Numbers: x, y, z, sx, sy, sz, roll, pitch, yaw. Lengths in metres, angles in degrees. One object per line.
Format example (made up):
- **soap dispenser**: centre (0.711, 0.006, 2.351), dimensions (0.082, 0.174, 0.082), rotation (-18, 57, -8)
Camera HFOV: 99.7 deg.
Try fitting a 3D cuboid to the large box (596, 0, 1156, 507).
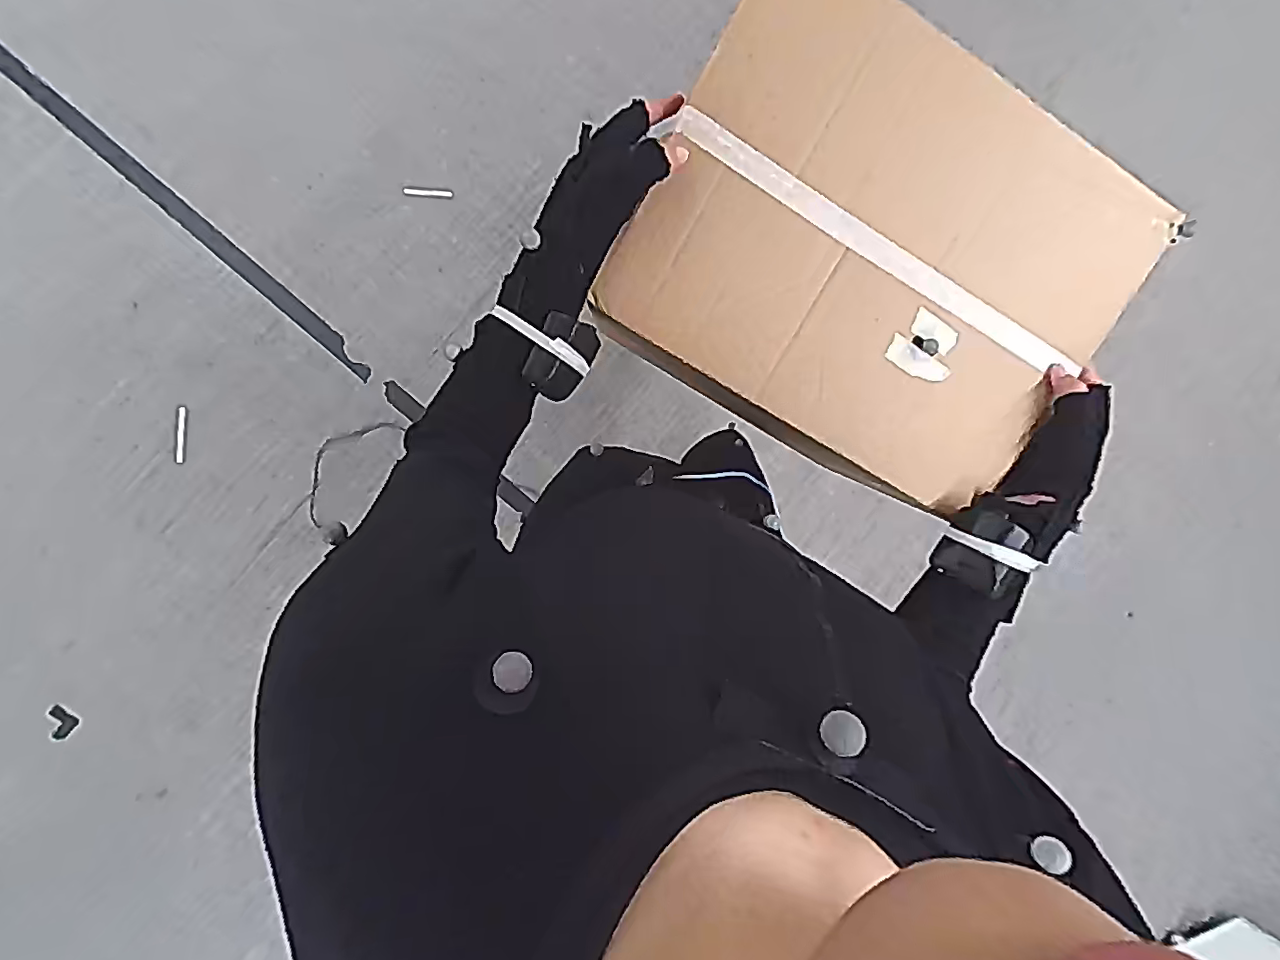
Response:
- **large box**: centre (0.194, -0.223, 0.607), dimensions (0.408, 0.320, 0.320), rotation (29, 99, -9)
